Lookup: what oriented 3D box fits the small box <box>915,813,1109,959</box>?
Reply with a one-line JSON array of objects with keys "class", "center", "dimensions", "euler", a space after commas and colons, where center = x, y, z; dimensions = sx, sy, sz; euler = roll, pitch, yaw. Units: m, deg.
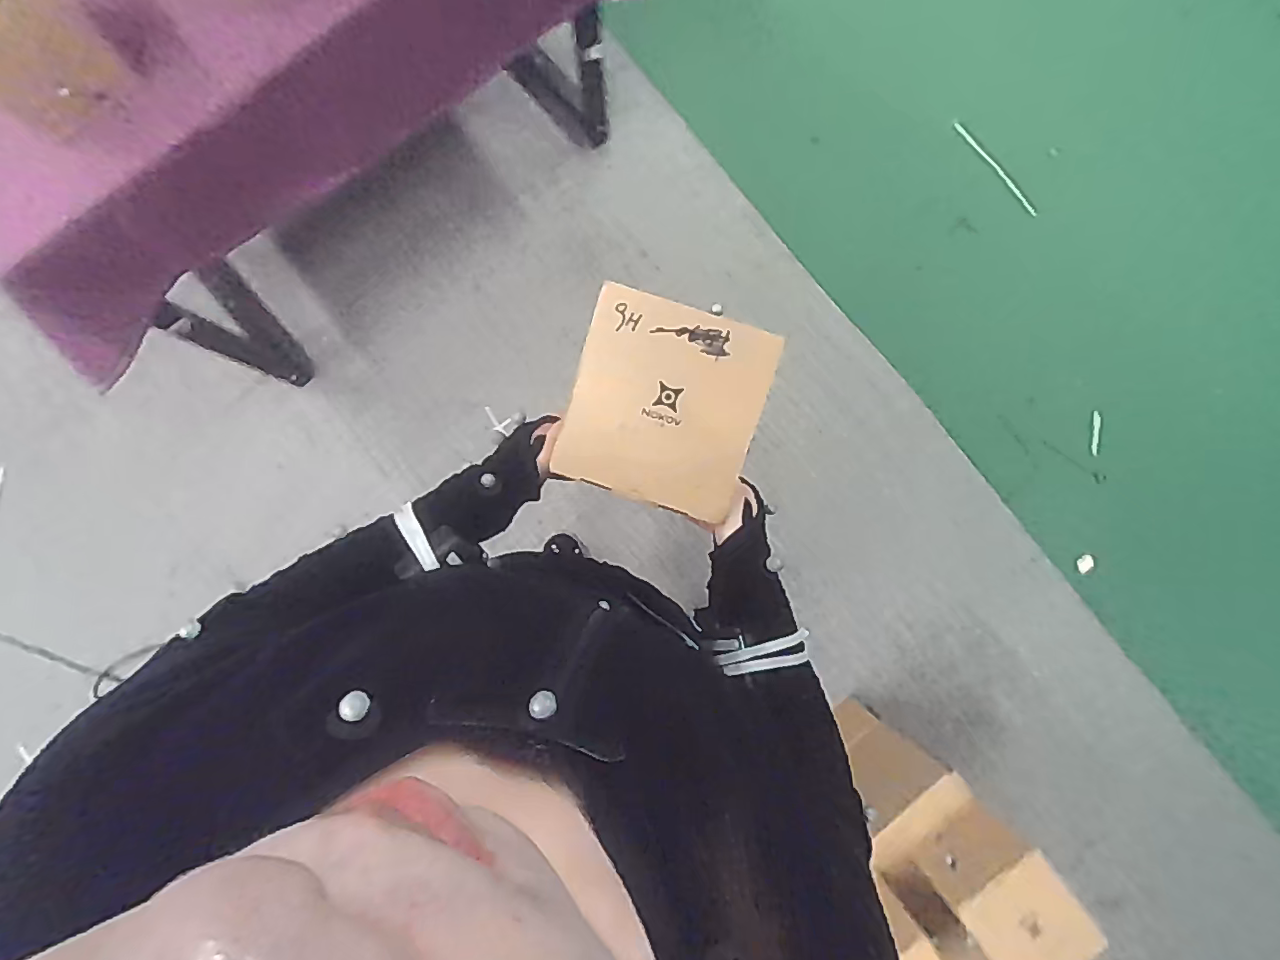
[{"class": "small box", "center": [0.612, 0.709, 0.918], "dimensions": [0.168, 0.176, 0.179], "euler": [-36, 85, -2]}]

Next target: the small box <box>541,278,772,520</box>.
[{"class": "small box", "center": [0.016, -0.079, 0.551], "dimensions": [0.168, 0.176, 0.179], "euler": [17, 98, 0]}]

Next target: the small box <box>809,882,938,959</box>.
[{"class": "small box", "center": [0.416, 0.836, 0.902], "dimensions": [0.168, 0.176, 0.179], "euler": [-31, 85, -5]}]
